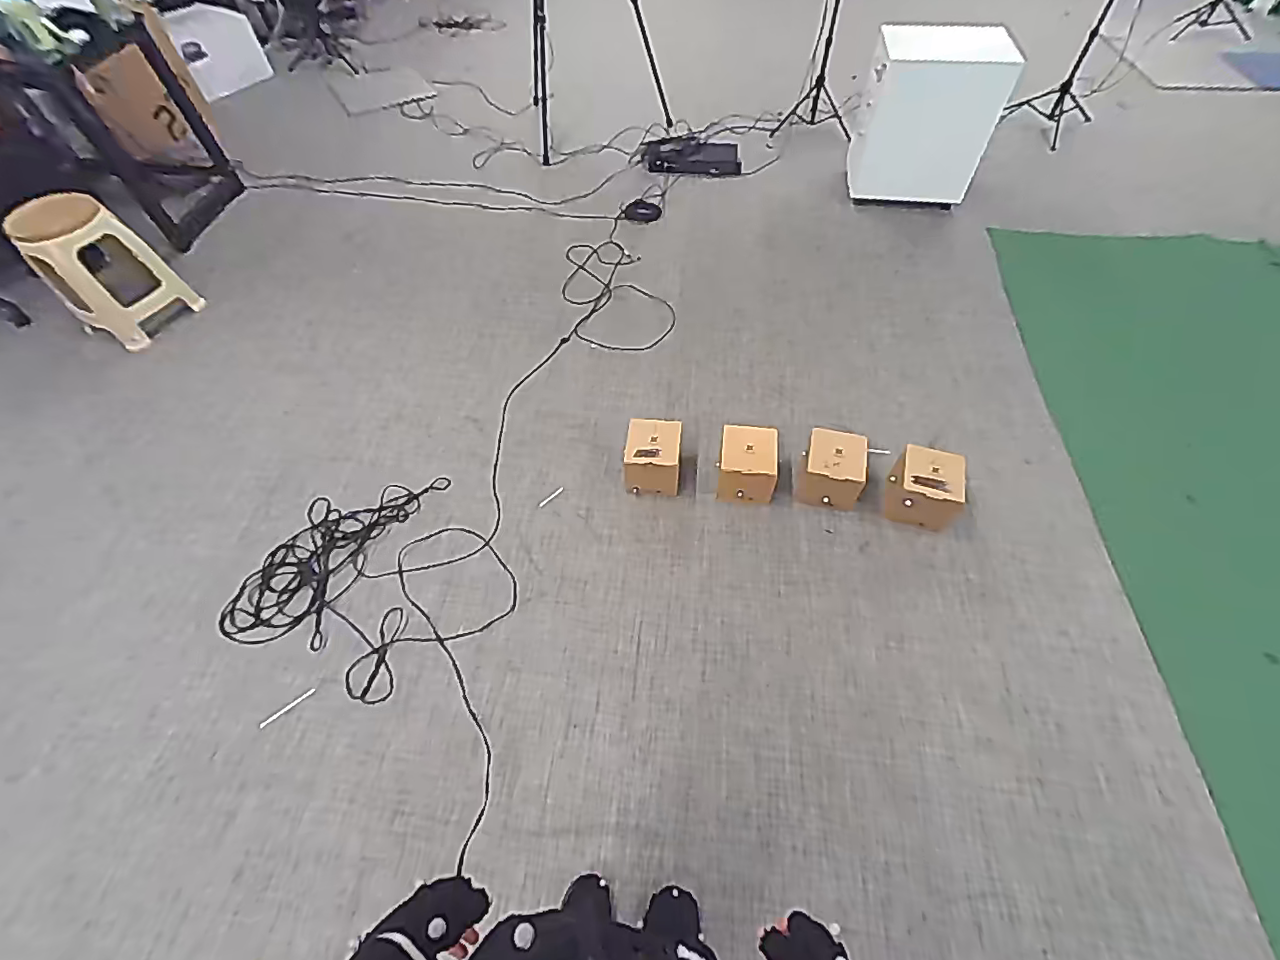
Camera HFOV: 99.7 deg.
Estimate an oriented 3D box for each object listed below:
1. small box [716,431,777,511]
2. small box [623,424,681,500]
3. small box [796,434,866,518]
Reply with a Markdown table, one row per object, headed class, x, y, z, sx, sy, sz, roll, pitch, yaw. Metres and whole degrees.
| class | x | y | z | sx | sy | sz | roll | pitch | yaw |
| --- | --- | --- | --- | --- | --- | --- | --- | --- | --- |
| small box | 0.330 | -0.028 | 1.689 | 0.168 | 0.176 | 0.179 | 5 | 56 | 6 |
| small box | 0.042 | -0.053 | 1.714 | 0.168 | 0.176 | 0.179 | 5 | 54 | 5 |
| small box | 0.586 | -0.012 | 1.668 | 0.168 | 0.176 | 0.179 | 12 | 57 | 11 |
